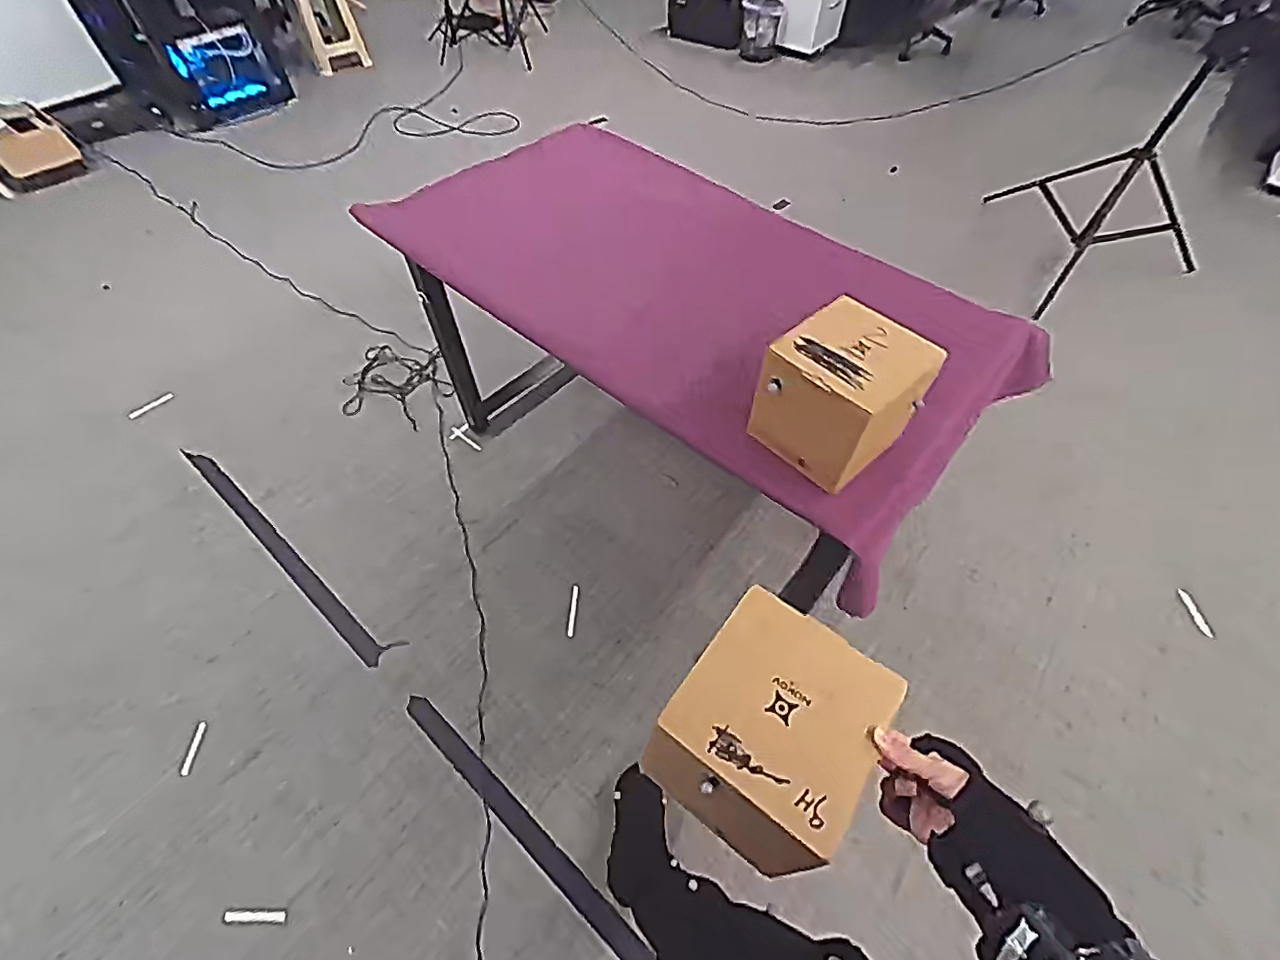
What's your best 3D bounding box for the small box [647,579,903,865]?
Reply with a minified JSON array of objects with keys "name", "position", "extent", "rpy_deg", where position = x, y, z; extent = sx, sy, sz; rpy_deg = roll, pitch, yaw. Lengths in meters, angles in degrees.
[{"name":"small box","position":[0.121,0.241,0.540],"extent":[0.168,0.176,0.179],"rpy_deg":[33,54,19]}]
